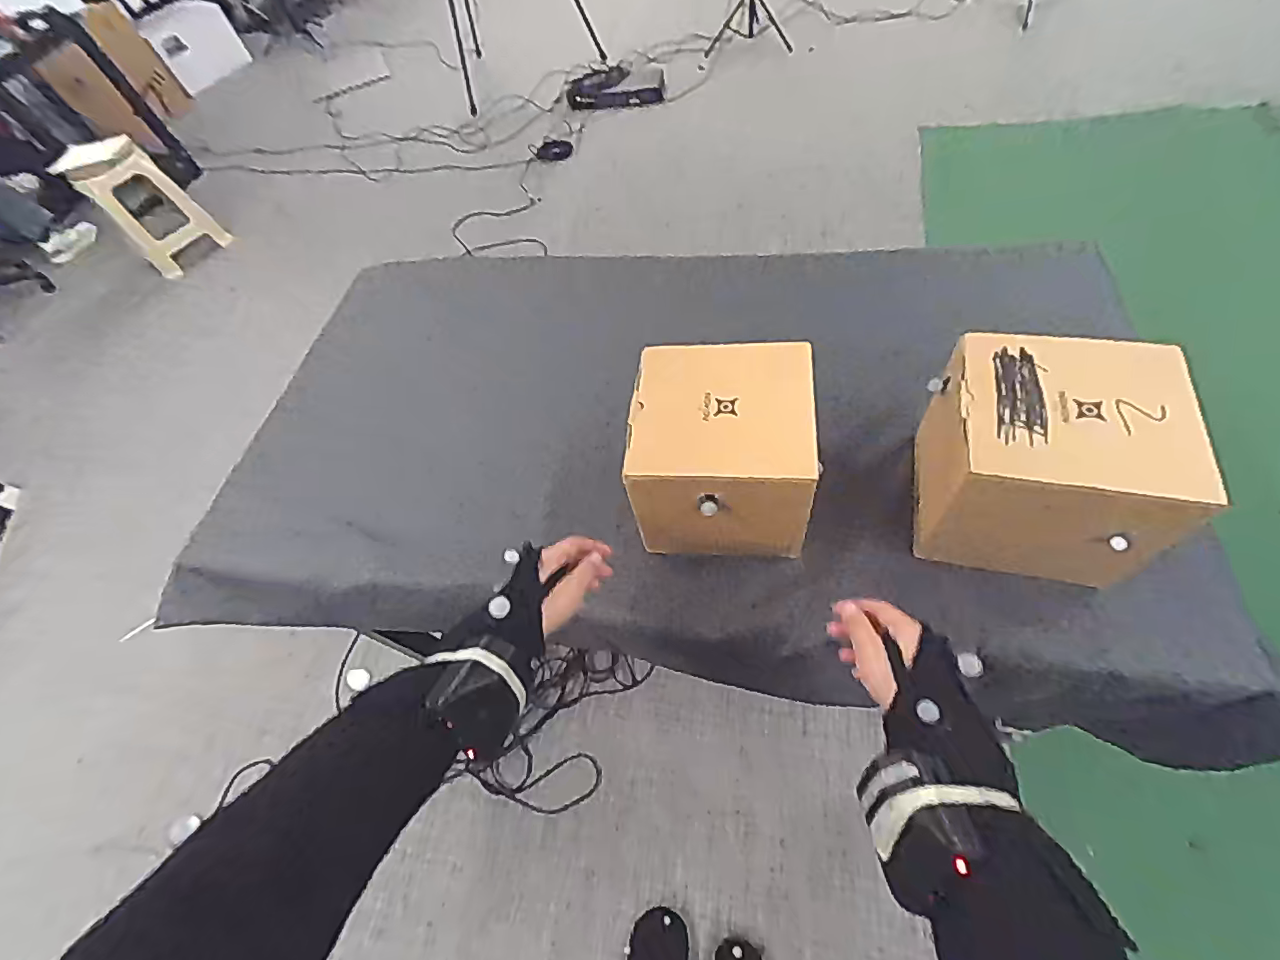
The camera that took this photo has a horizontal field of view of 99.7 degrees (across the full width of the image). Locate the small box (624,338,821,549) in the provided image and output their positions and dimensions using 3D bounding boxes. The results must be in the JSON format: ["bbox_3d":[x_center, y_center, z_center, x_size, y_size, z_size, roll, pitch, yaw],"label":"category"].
[{"bbox_3d":[0.092,-0.033,0.586,0.179,0.176,0.168,1,59,12],"label":"small box"}]
